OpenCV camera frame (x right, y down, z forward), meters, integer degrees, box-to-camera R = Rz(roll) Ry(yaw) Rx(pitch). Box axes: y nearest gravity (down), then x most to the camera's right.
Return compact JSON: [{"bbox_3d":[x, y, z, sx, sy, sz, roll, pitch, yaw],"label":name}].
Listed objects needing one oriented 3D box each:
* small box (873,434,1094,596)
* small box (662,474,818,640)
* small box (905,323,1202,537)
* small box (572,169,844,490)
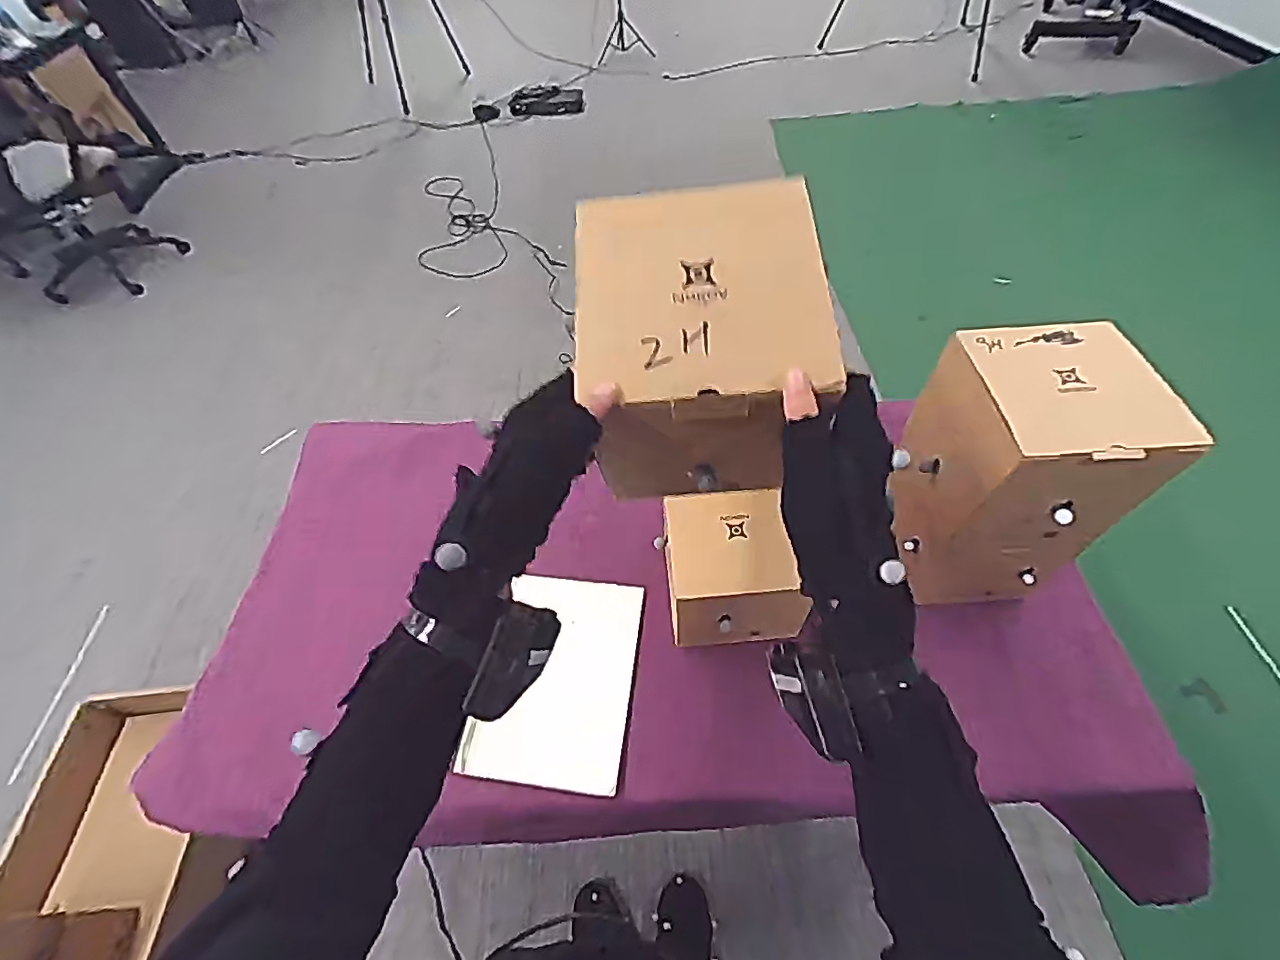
[{"bbox_3d":[0.437,0.048,0.725,0.168,0.176,0.179,-2,54,2],"label":"small box"},{"bbox_3d":[0.120,0.102,0.714,0.168,0.176,0.179,-5,53,1],"label":"small box"},{"bbox_3d":[0.420,-0.046,0.592,0.168,0.176,0.179,-2,55,2],"label":"small box"},{"bbox_3d":[0.044,-0.105,0.428,0.168,0.176,0.179,-4,69,4],"label":"small box"}]
